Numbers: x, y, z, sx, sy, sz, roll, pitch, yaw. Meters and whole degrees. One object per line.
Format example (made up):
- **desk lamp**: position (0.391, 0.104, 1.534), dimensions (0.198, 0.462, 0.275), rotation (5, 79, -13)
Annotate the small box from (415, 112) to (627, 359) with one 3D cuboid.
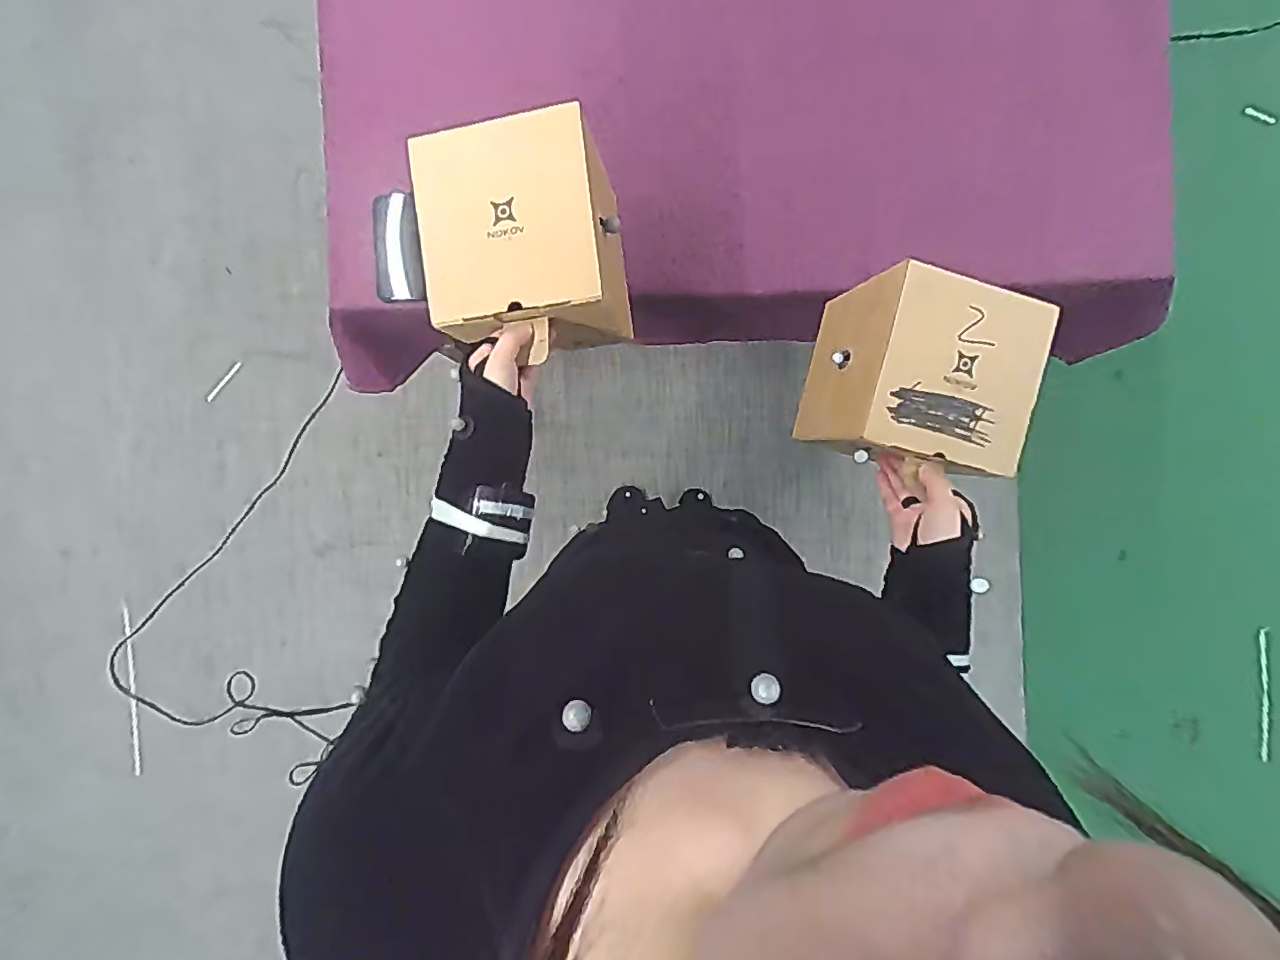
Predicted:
- **small box**: position (-0.113, -0.241, 0.577), dimensions (0.168, 0.176, 0.179), rotation (-7, 91, 8)
